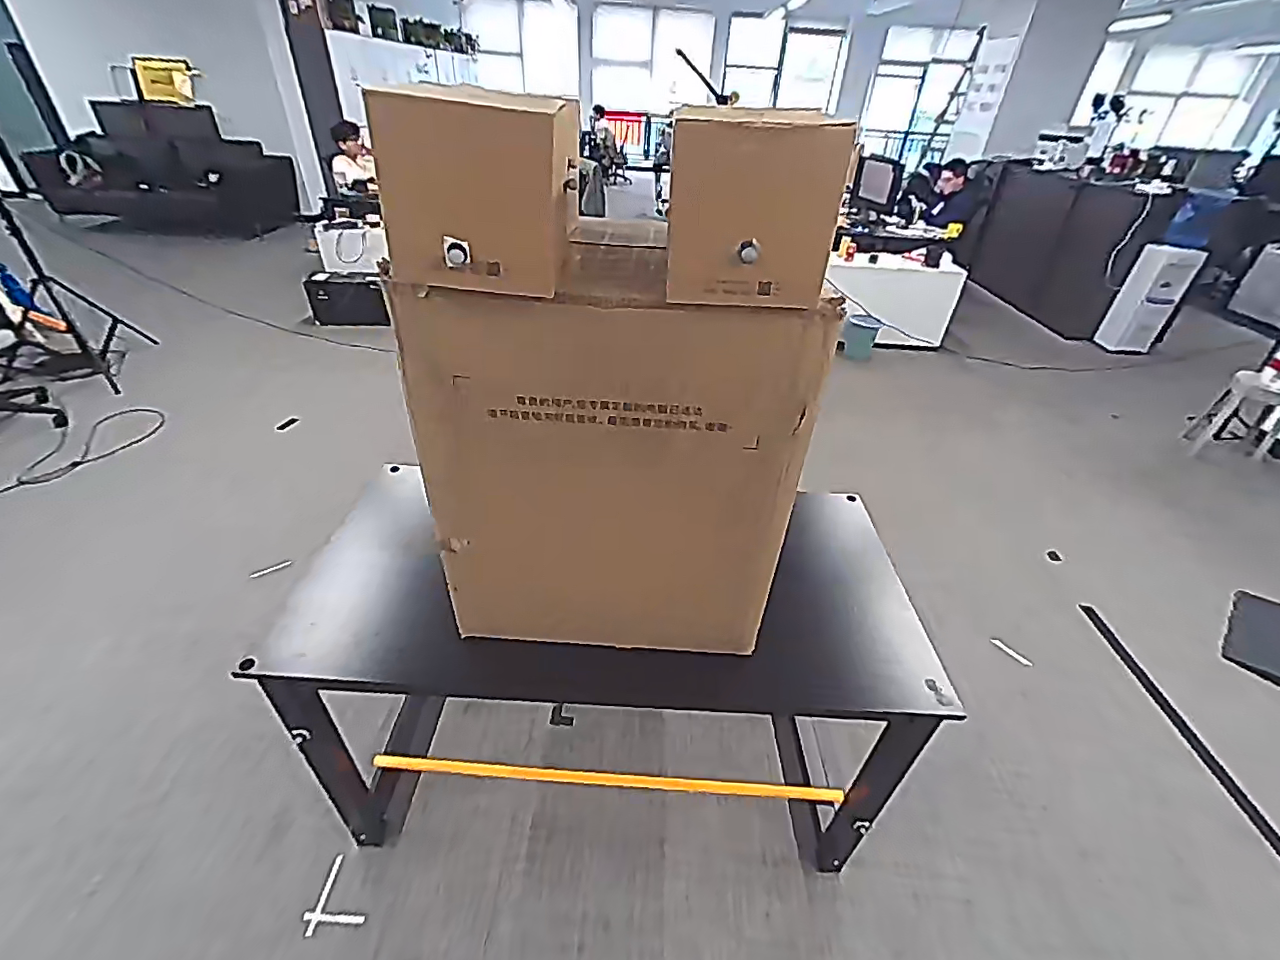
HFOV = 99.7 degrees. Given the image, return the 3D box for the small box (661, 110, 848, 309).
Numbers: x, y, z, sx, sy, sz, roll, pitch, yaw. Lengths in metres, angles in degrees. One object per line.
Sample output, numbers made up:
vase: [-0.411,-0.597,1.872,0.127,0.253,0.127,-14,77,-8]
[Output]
small box: [0.110,-0.304,0.603,0.168,0.176,0.179,2,38,2]
